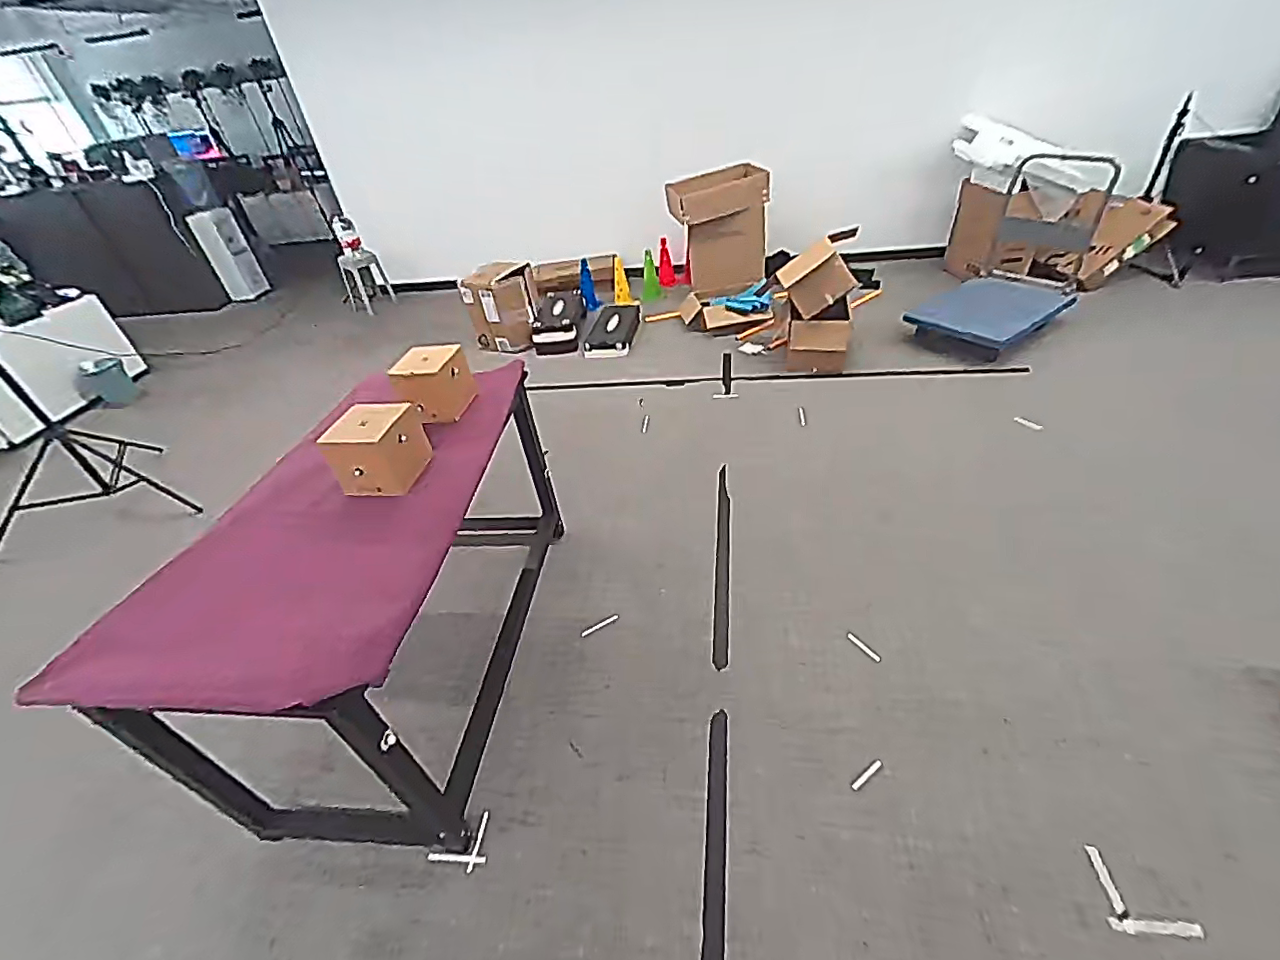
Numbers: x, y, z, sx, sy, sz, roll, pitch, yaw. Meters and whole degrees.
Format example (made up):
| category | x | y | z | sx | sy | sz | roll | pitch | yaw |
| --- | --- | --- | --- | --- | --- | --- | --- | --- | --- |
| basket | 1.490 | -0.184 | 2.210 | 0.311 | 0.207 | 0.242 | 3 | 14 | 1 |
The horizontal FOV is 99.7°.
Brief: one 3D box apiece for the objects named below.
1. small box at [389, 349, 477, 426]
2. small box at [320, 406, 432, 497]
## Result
| category | x | y | z | sx | sy | sz | roll | pitch | yaw |
| --- | --- | --- | --- | --- | --- | --- | --- | --- | --- |
| small box | -0.614 | -0.279 | 1.634 | 0.168 | 0.176 | 0.179 | 0 | 39 | 12 |
| small box | -0.657 | -0.070 | 1.375 | 0.168 | 0.176 | 0.179 | 1 | 38 | 10 |
